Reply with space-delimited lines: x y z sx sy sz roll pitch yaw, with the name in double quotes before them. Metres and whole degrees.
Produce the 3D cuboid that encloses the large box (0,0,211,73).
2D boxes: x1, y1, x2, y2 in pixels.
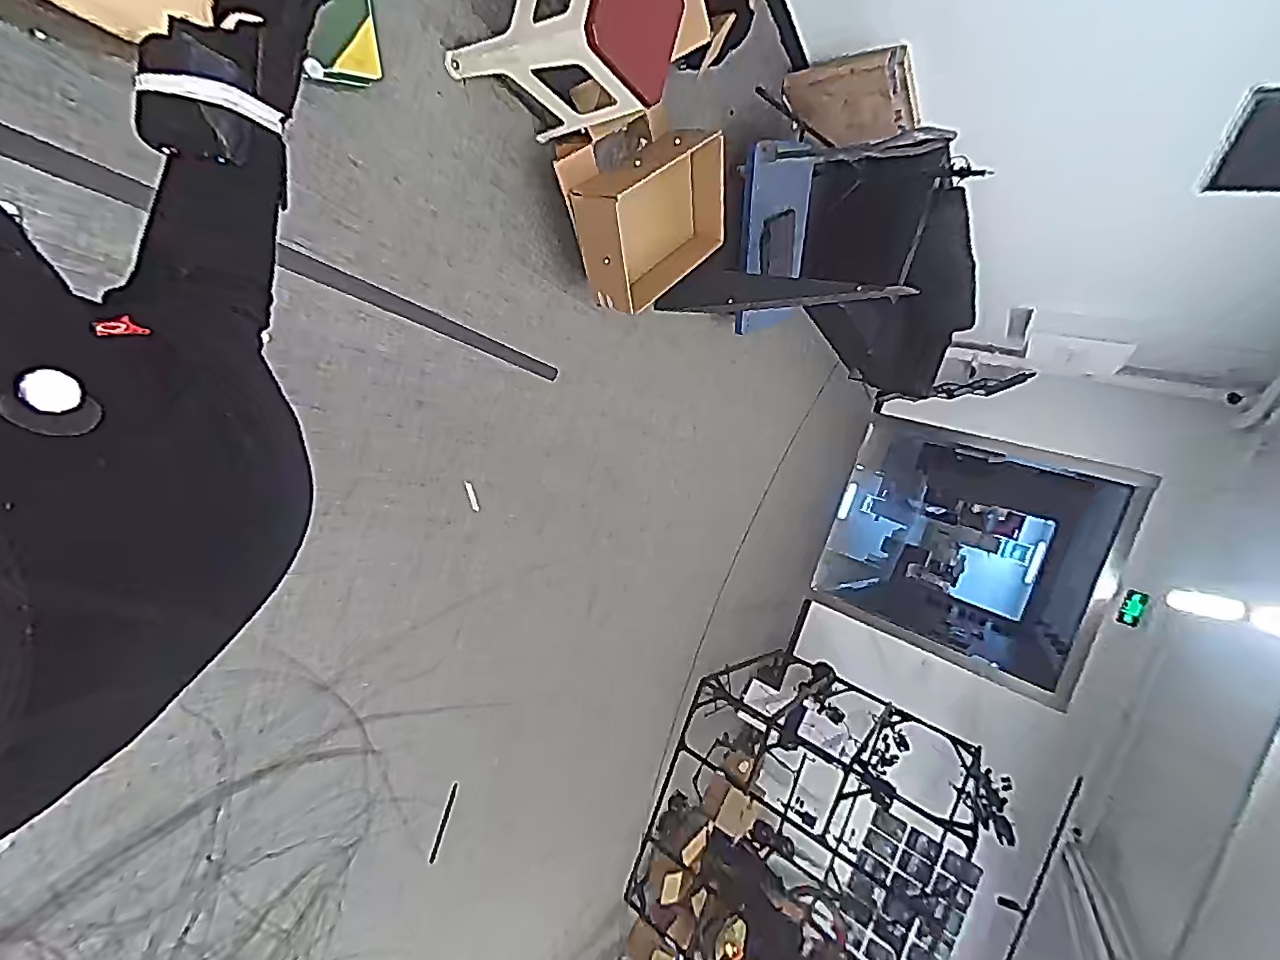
"large box" -0.478 -0.480 0.246 0.408 0.320 0.320 -1 118 -59
